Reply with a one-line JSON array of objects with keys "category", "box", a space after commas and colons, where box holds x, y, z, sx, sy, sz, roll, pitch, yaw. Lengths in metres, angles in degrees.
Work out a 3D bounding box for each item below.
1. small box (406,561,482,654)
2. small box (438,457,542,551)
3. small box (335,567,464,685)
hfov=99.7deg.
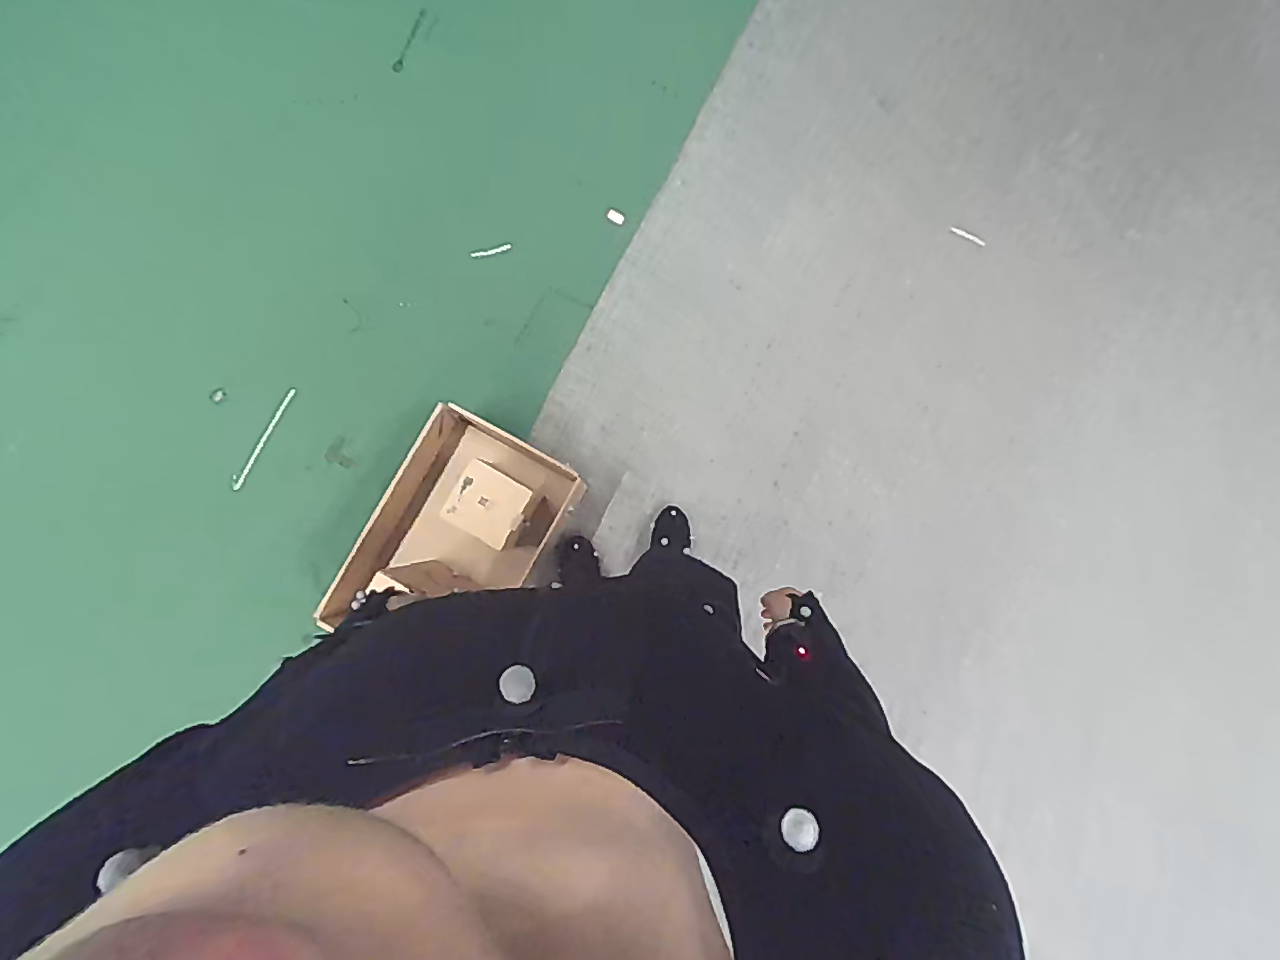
[{"category": "small box", "box": [-0.511, 0.314, 1.327, 0.168, 0.176, 0.179, 28, 84, 0]}, {"category": "small box", "box": [-0.365, 0.058, 1.355, 0.179, 0.176, 0.168, 30, 86, 0]}, {"category": "small box", "box": [-0.501, 0.301, 1.163, 0.168, 0.176, 0.179, 29, 85, 1]}]
